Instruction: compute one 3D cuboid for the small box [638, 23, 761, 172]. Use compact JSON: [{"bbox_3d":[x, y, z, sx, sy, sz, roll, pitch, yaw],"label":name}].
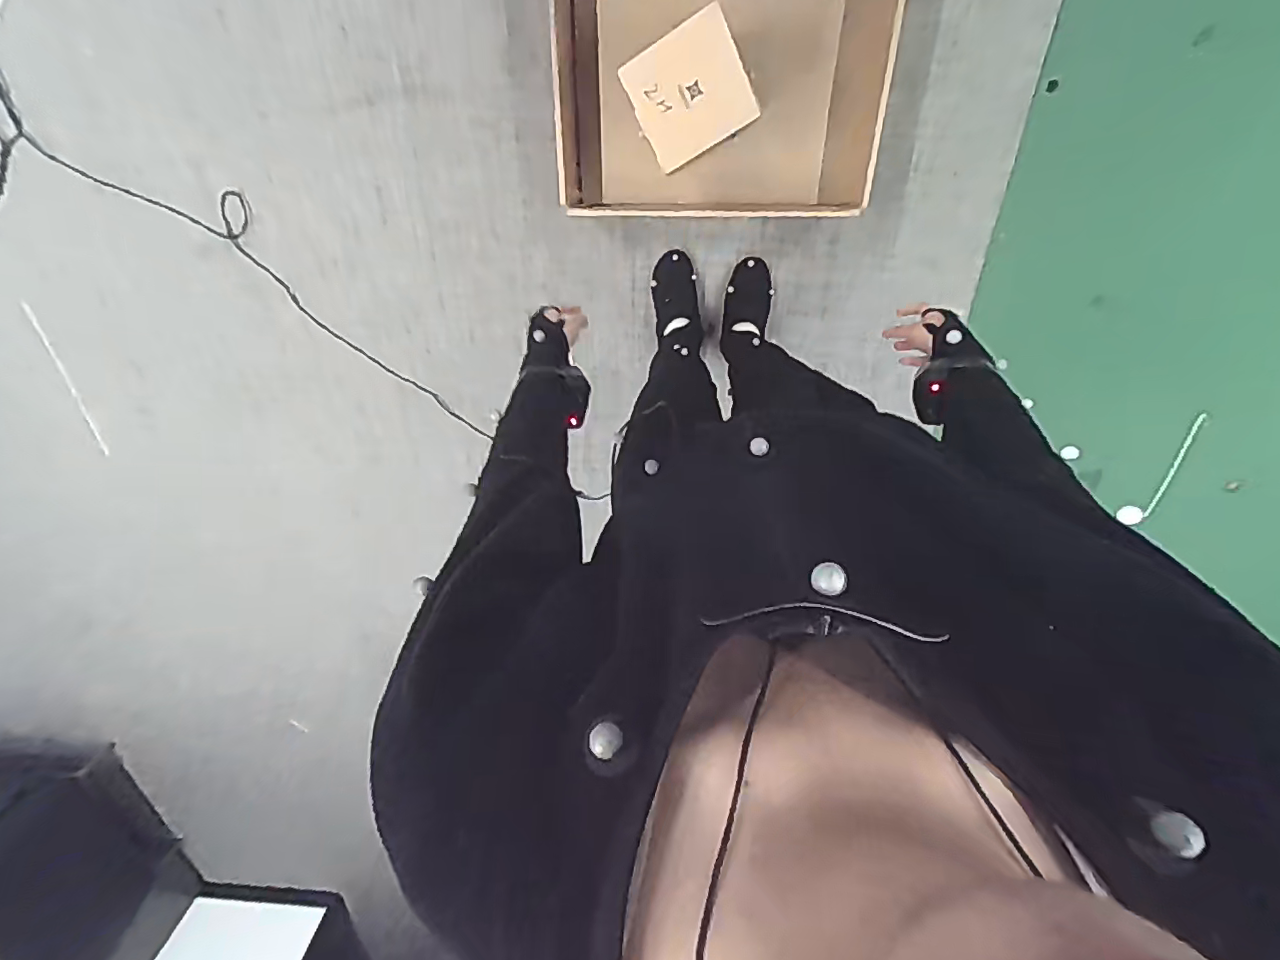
[{"bbox_3d":[0.117,-0.725,1.051,0.179,0.176,0.168,-25,113,17],"label":"small box"}]
